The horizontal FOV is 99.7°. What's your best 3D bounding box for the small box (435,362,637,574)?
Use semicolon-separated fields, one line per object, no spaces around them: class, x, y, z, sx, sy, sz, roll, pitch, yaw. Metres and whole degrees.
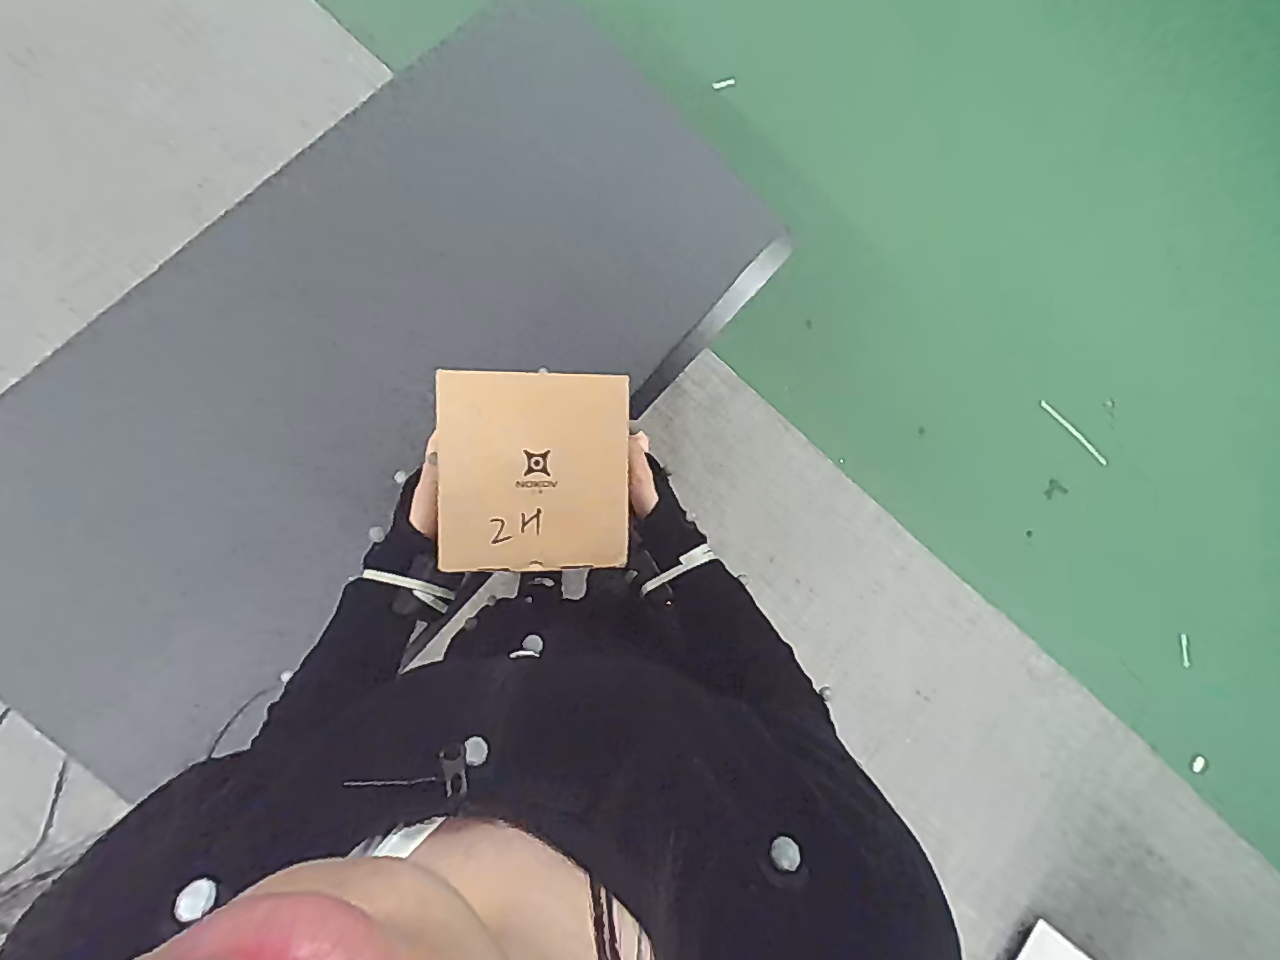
small box;-0.100;-0.010;0.534;0.168;0.176;0.179;1;92;-10
